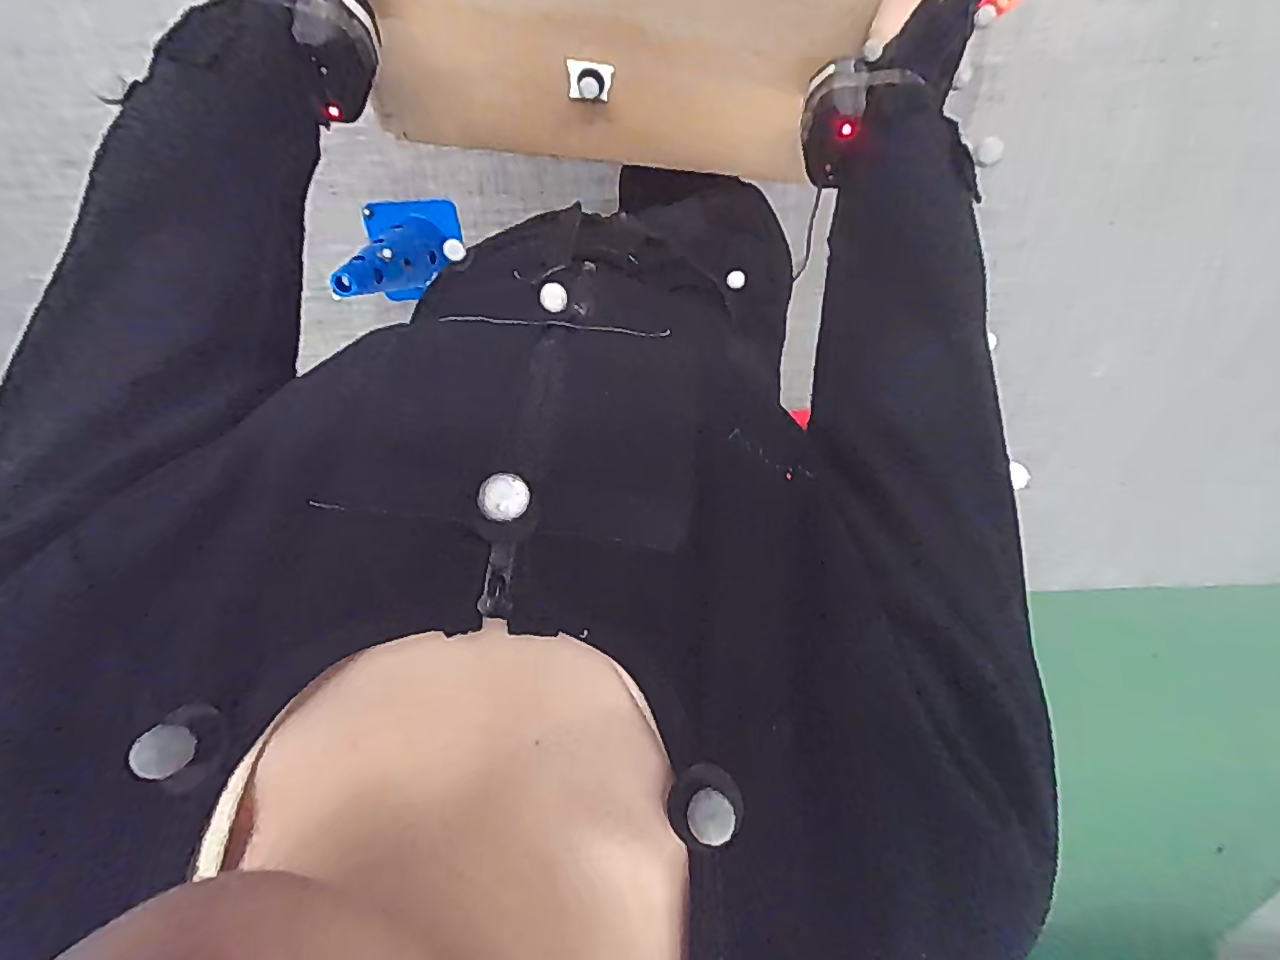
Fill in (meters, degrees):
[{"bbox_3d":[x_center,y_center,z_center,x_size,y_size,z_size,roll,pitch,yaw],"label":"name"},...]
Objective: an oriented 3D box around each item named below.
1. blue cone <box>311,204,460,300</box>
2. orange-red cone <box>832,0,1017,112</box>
[{"bbox_3d":[-0.493,-0.406,1.021,0.192,0.380,0.193,-1,120,1],"label":"blue cone"},{"bbox_3d":[0.469,-0.708,0.817,0.199,0.360,0.198,16,120,-10],"label":"orange-red cone"}]
